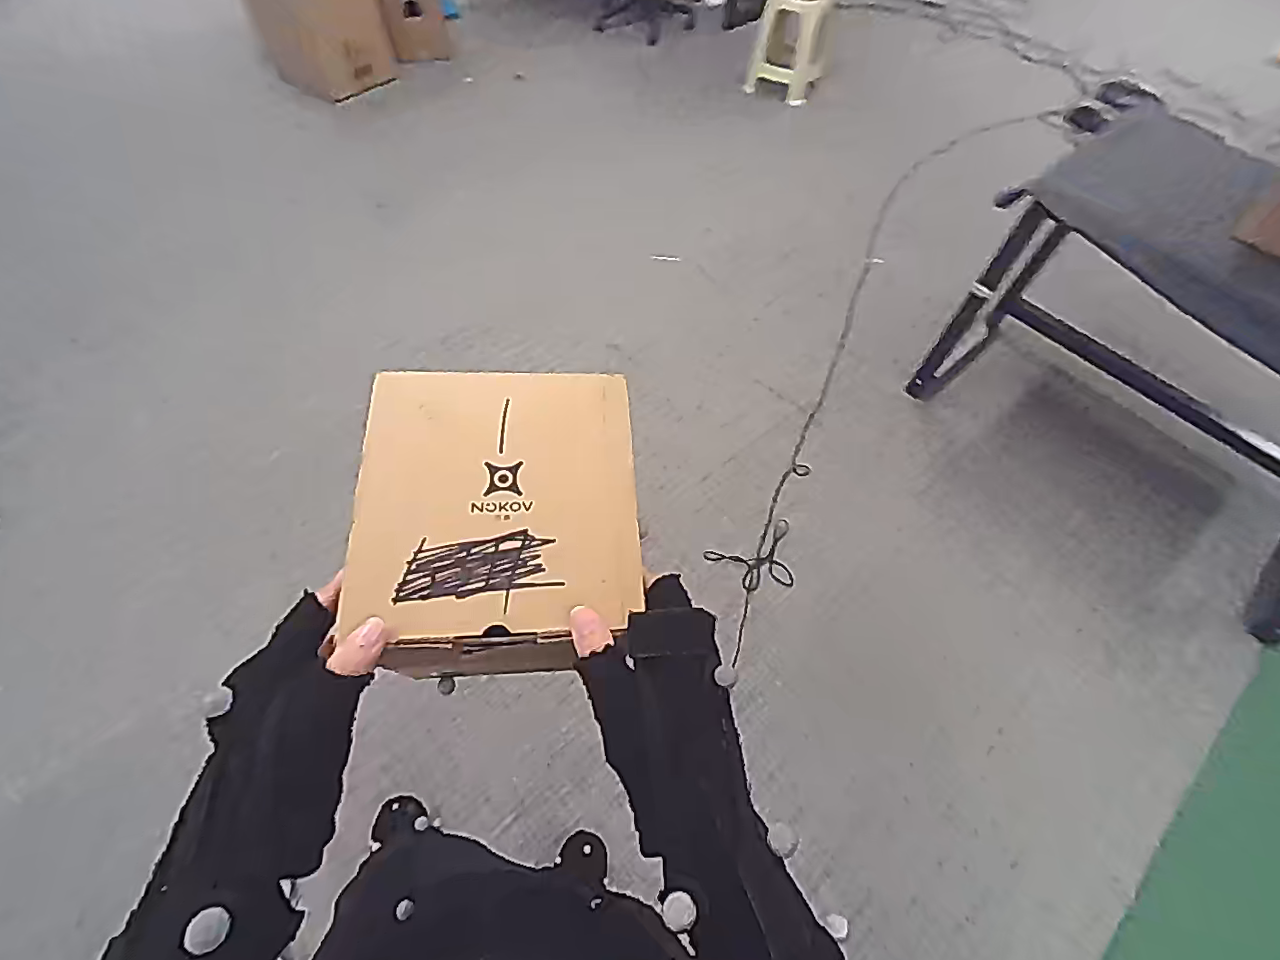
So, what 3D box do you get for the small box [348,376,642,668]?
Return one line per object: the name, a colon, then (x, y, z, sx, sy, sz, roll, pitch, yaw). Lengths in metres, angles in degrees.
small box: (-0.090, 0.043, 0.407, 0.168, 0.176, 0.179, 0, 64, -7)
